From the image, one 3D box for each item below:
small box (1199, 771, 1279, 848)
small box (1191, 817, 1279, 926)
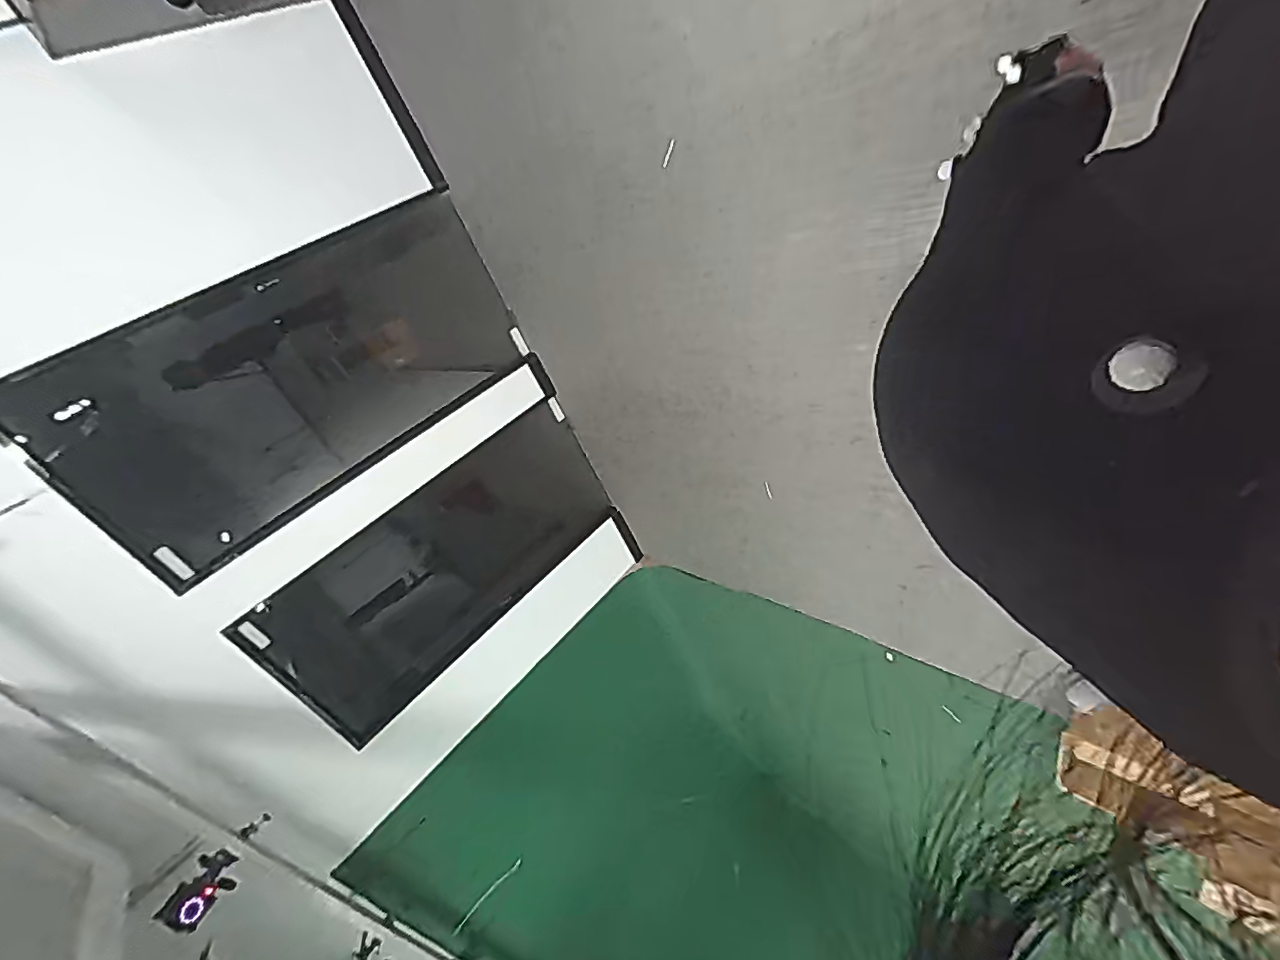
[{"bbox_3d":[1.869,1.049,1.668,0.168,0.176,0.179,13,138,48],"label":"small box"},{"bbox_3d":[1.760,1.140,1.585,0.168,0.176,0.179,16,140,48],"label":"small box"}]
